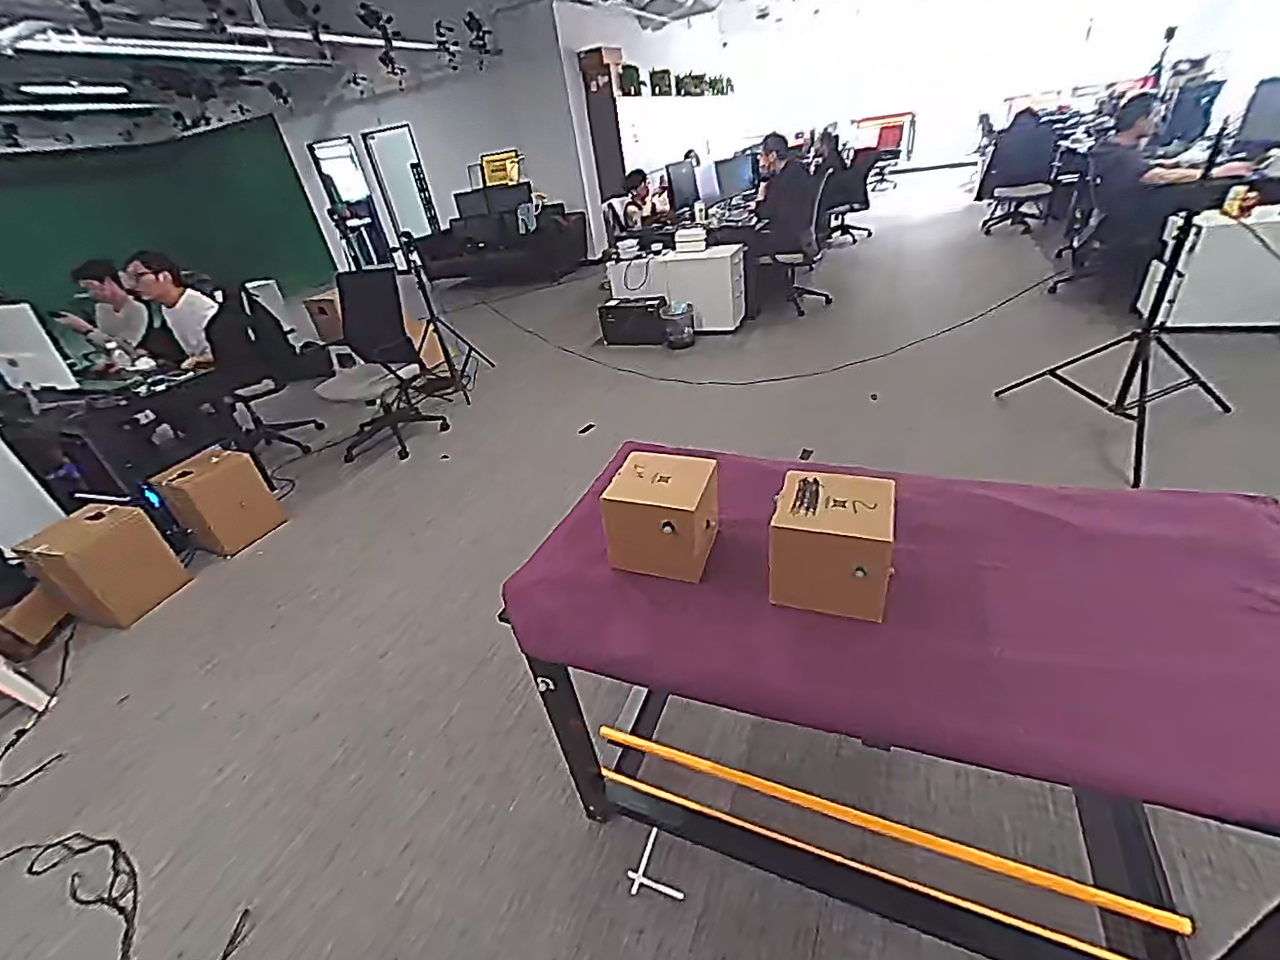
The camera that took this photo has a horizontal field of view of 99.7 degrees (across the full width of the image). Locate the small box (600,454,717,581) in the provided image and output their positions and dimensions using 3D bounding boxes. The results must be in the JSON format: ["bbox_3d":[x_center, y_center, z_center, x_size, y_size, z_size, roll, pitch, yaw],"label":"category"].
[{"bbox_3d":[0.044,0.070,1.031,0.179,0.176,0.168,7,35,20],"label":"small box"}]
